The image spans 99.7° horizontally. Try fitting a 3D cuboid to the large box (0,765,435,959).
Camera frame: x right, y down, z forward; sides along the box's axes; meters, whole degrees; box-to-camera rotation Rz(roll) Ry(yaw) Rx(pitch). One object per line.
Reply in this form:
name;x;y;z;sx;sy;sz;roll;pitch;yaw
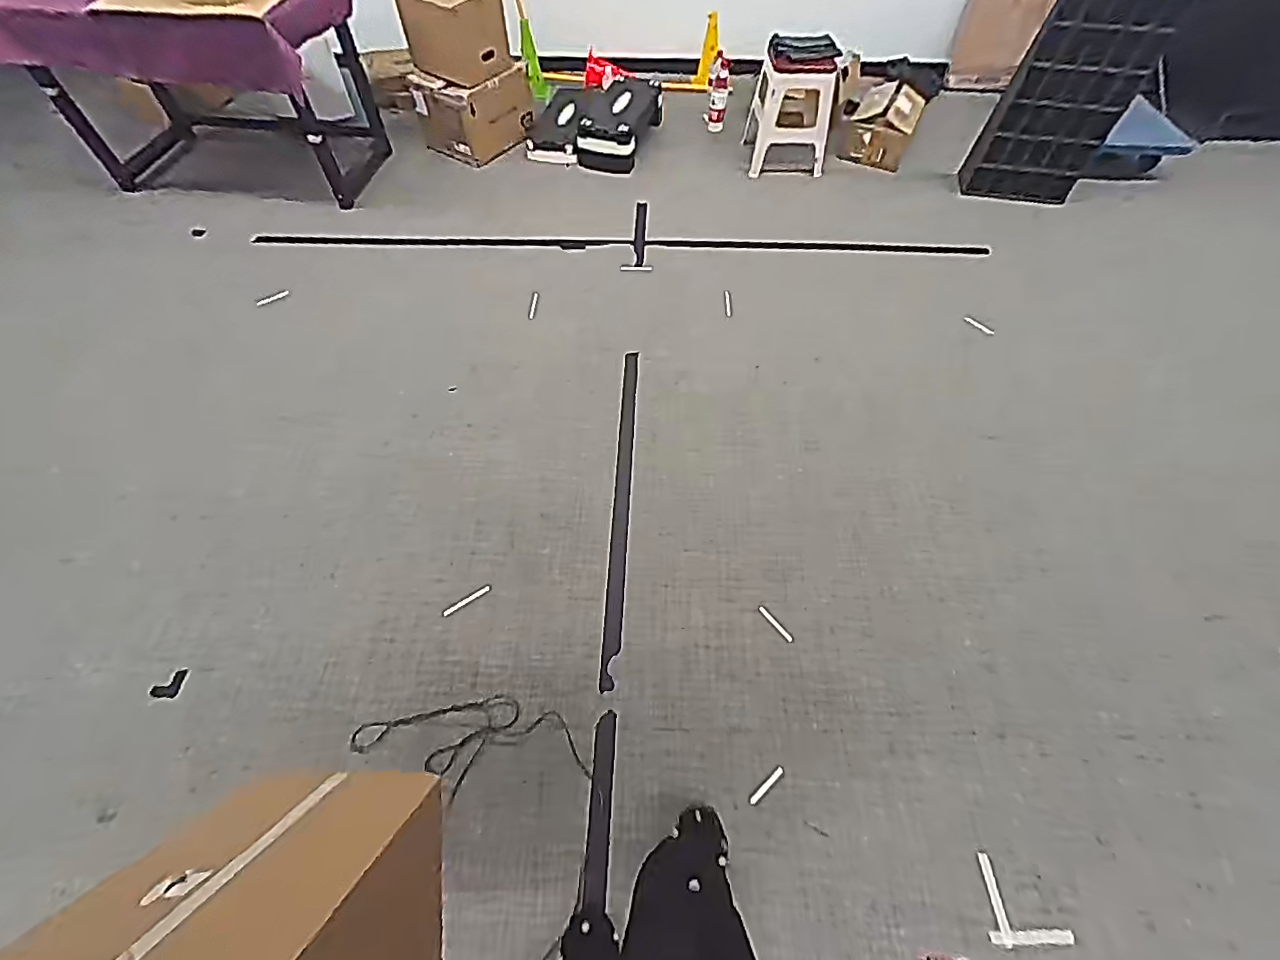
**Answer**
large box;-0.493;0.630;0.701;0.320;0.408;0.320;-1;90;2
